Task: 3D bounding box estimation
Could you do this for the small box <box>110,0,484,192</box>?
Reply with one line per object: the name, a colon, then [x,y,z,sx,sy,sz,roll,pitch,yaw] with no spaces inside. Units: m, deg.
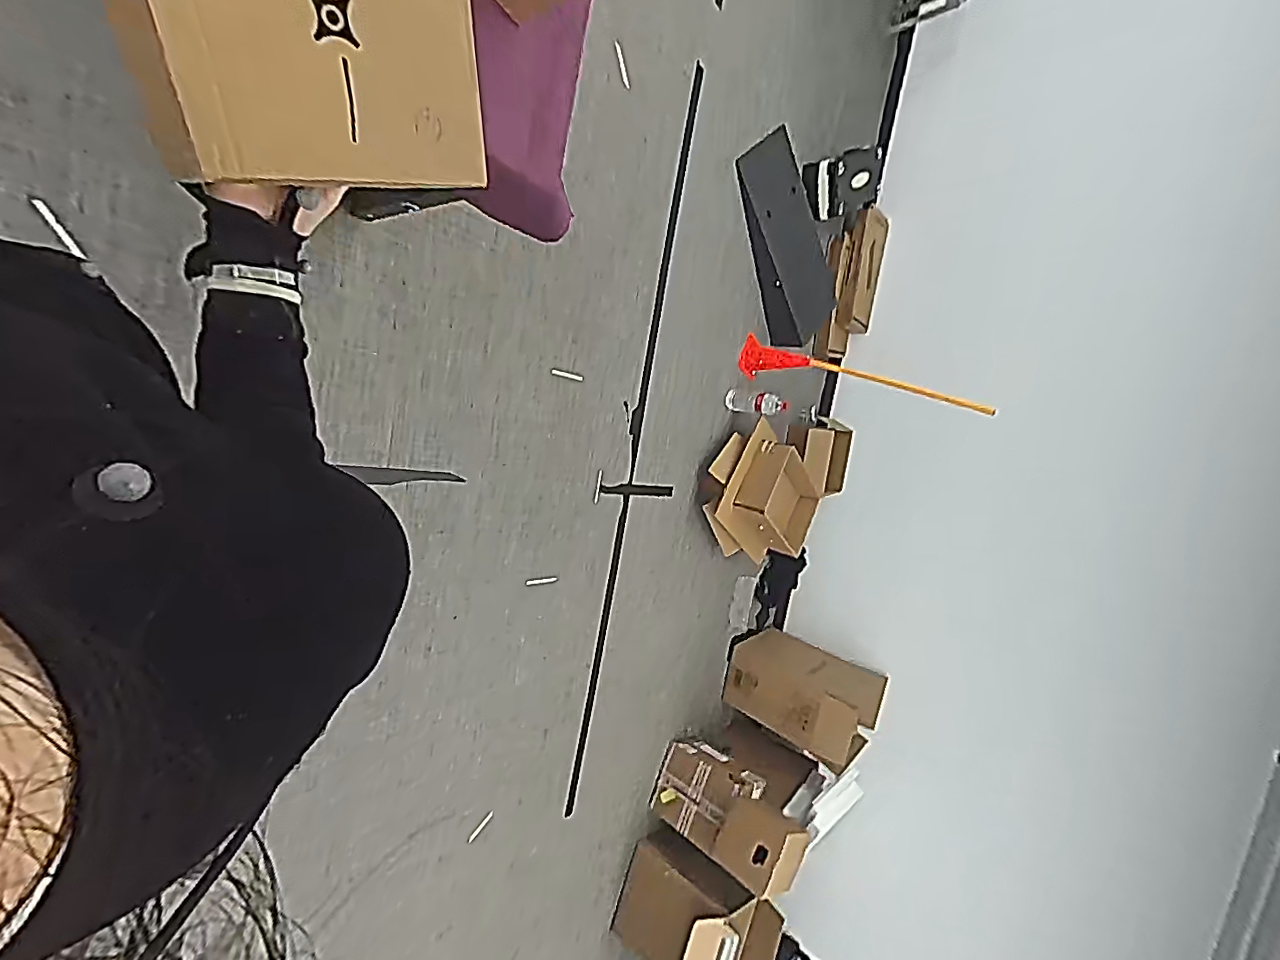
small box: [-0.224,-0.288,0.349,0.168,0.176,0.179,-22,126,-37]
